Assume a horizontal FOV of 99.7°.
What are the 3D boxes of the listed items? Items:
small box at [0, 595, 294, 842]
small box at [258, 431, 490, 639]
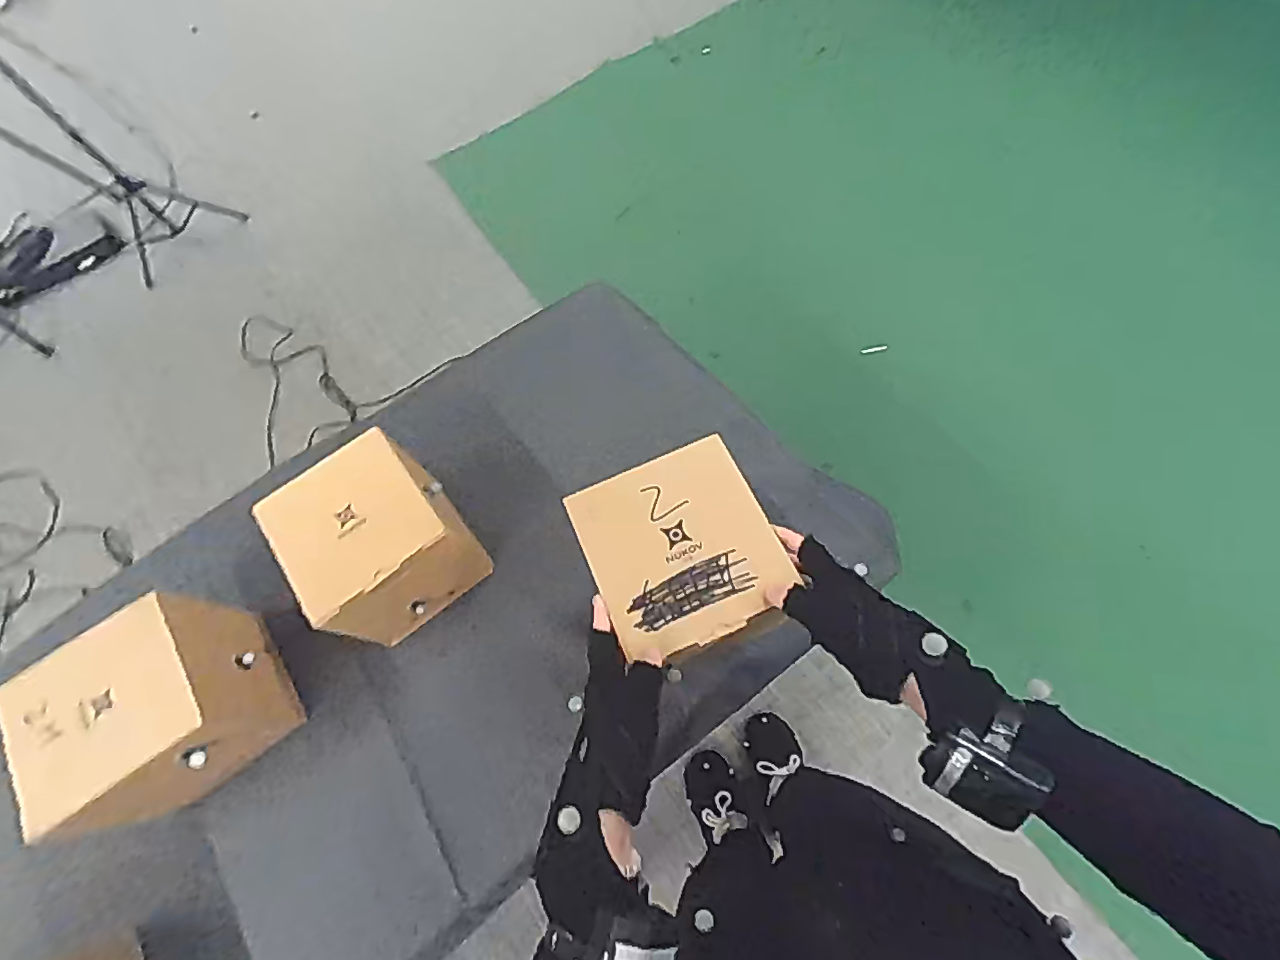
[{"bbox_3d":[-0.536,0.259,0.615,0.179,0.176,0.168,-35,69,-11],"label":"small box"},{"bbox_3d":[-0.320,0.078,0.681,0.168,0.176,0.179,-37,70,-11],"label":"small box"}]
